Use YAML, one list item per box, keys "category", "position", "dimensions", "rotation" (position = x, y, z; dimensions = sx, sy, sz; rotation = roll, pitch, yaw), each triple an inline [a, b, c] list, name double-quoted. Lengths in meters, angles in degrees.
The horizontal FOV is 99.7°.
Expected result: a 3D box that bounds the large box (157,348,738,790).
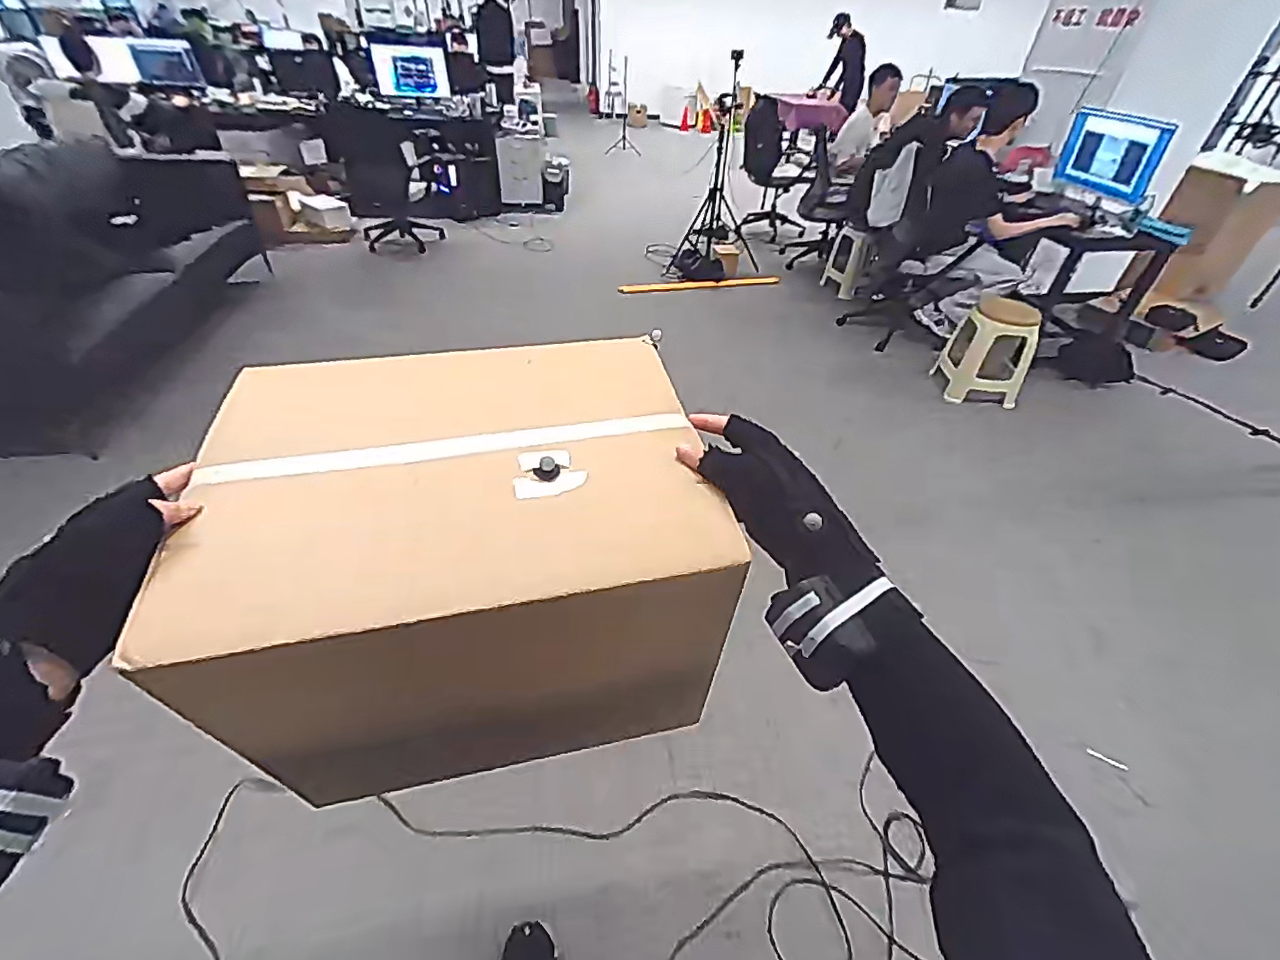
- category: "large box"
  position: [-0.159, 0.082, 0.584]
  dimensions: [0.408, 0.320, 0.320]
  rotation: [-7, 47, -12]
